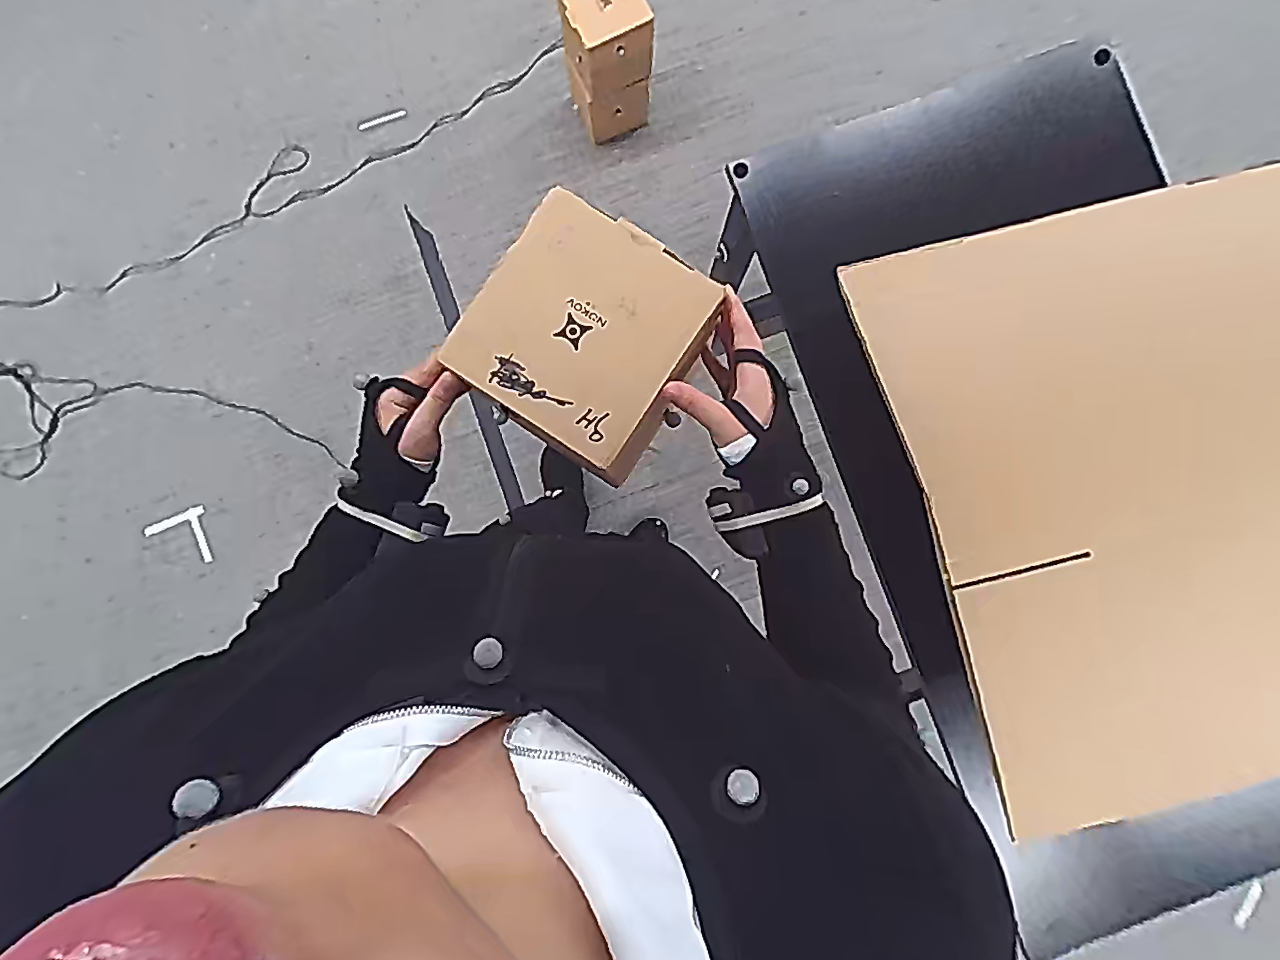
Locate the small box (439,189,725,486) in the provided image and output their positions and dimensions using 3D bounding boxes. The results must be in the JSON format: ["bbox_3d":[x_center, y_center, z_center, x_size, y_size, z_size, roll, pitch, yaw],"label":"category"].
[{"bbox_3d":[-0.045,-0.114,0.505,0.168,0.176,0.179,33,85,5],"label":"small box"}]

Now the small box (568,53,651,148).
[{"bbox_3d":[-0.080,-1.063,1.485,0.179,0.176,0.168,-23,87,-1],"label":"small box"}]

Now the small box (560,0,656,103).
[{"bbox_3d":[-0.075,-1.077,1.324,0.179,0.176,0.168,-27,88,-3],"label":"small box"}]
